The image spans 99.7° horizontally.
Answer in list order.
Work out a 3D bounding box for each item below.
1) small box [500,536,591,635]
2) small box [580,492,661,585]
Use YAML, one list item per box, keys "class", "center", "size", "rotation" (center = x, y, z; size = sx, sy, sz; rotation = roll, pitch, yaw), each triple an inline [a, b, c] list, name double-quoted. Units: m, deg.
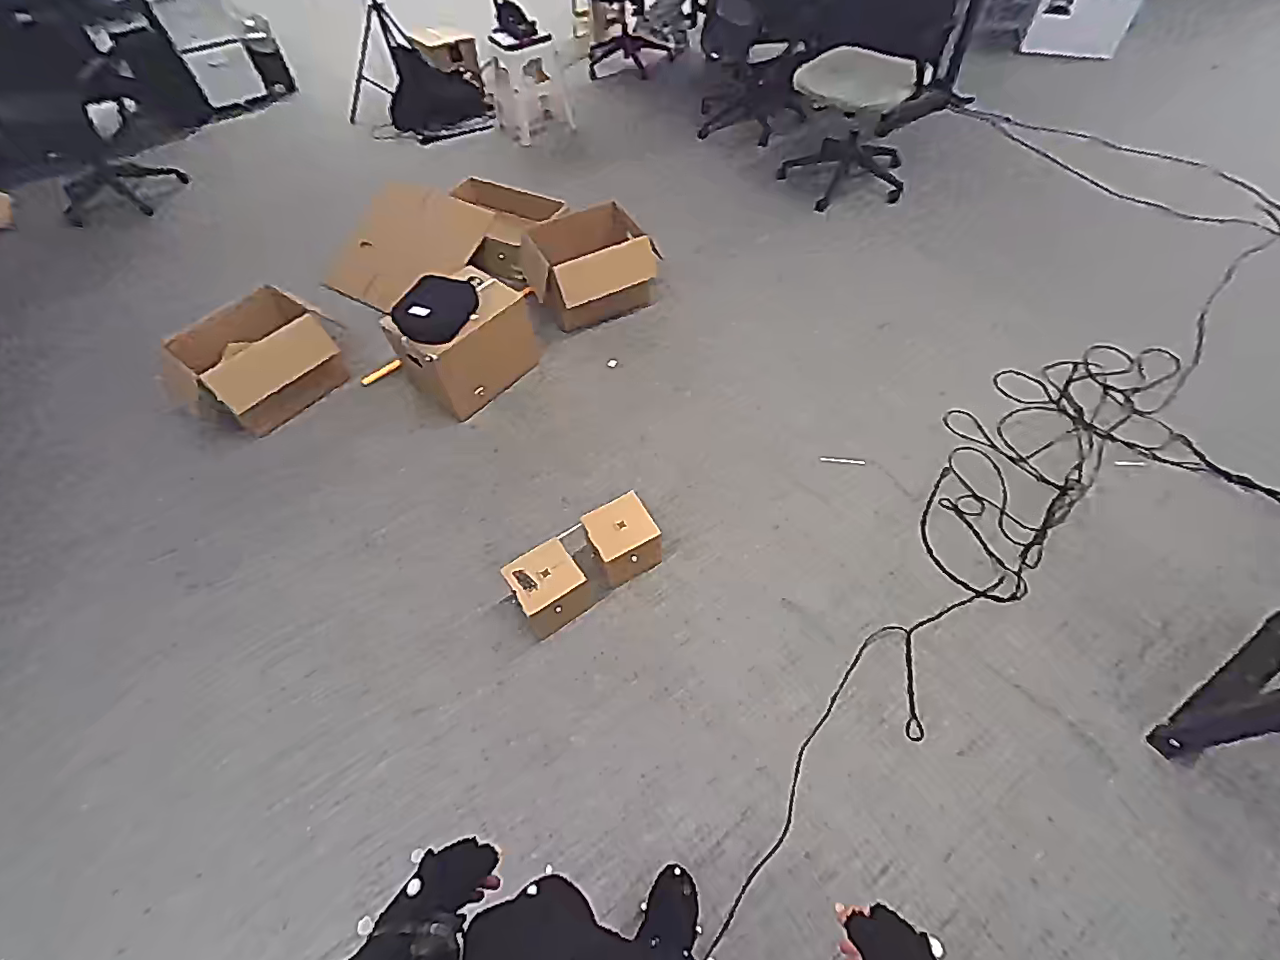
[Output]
- class: "small box"
  center: [-0.252, 0.294, 1.482]
  size: [0.179, 0.176, 0.168]
  rotation: [-31, 58, -18]
- class: "small box"
  center: [-0.052, 0.171, 1.556]
  size: [0.179, 0.176, 0.168]
  rotation: [-27, 58, -13]
